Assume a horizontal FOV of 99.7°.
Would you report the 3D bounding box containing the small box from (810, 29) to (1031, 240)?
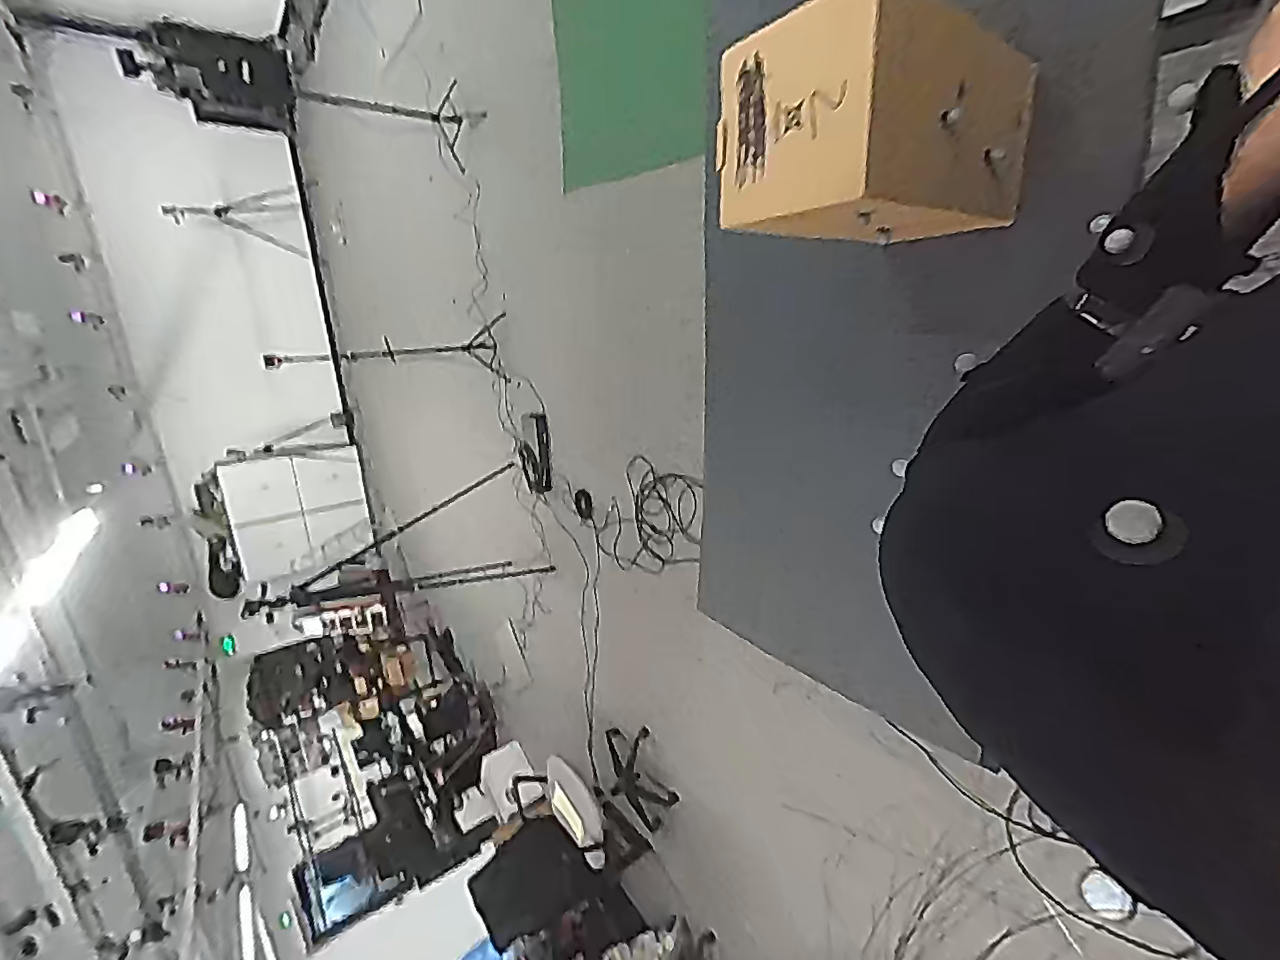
[{"bbox_3d":[0.327,-0.385,0.641,0.179,0.176,0.168,19,117,51],"label":"small box"}]
